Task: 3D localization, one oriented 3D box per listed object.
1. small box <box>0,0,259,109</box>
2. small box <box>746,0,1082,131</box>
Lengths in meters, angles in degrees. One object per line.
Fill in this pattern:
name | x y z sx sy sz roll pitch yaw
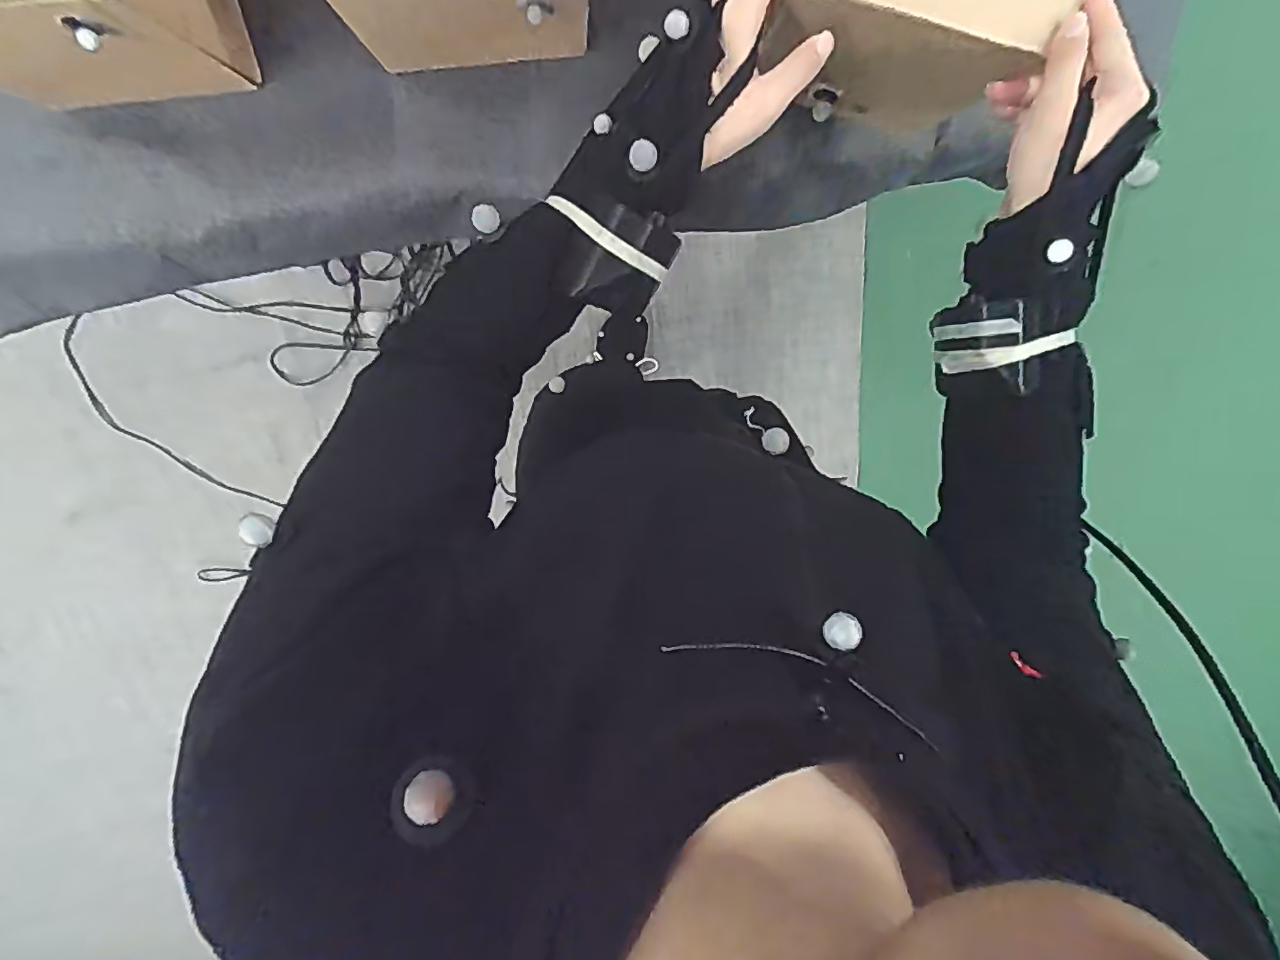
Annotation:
small box | -0.408 -0.370 0.357 0.179 0.176 0.168 -9 110 -4
small box | 0.182 -0.368 0.359 0.168 0.176 0.179 11 109 -5
